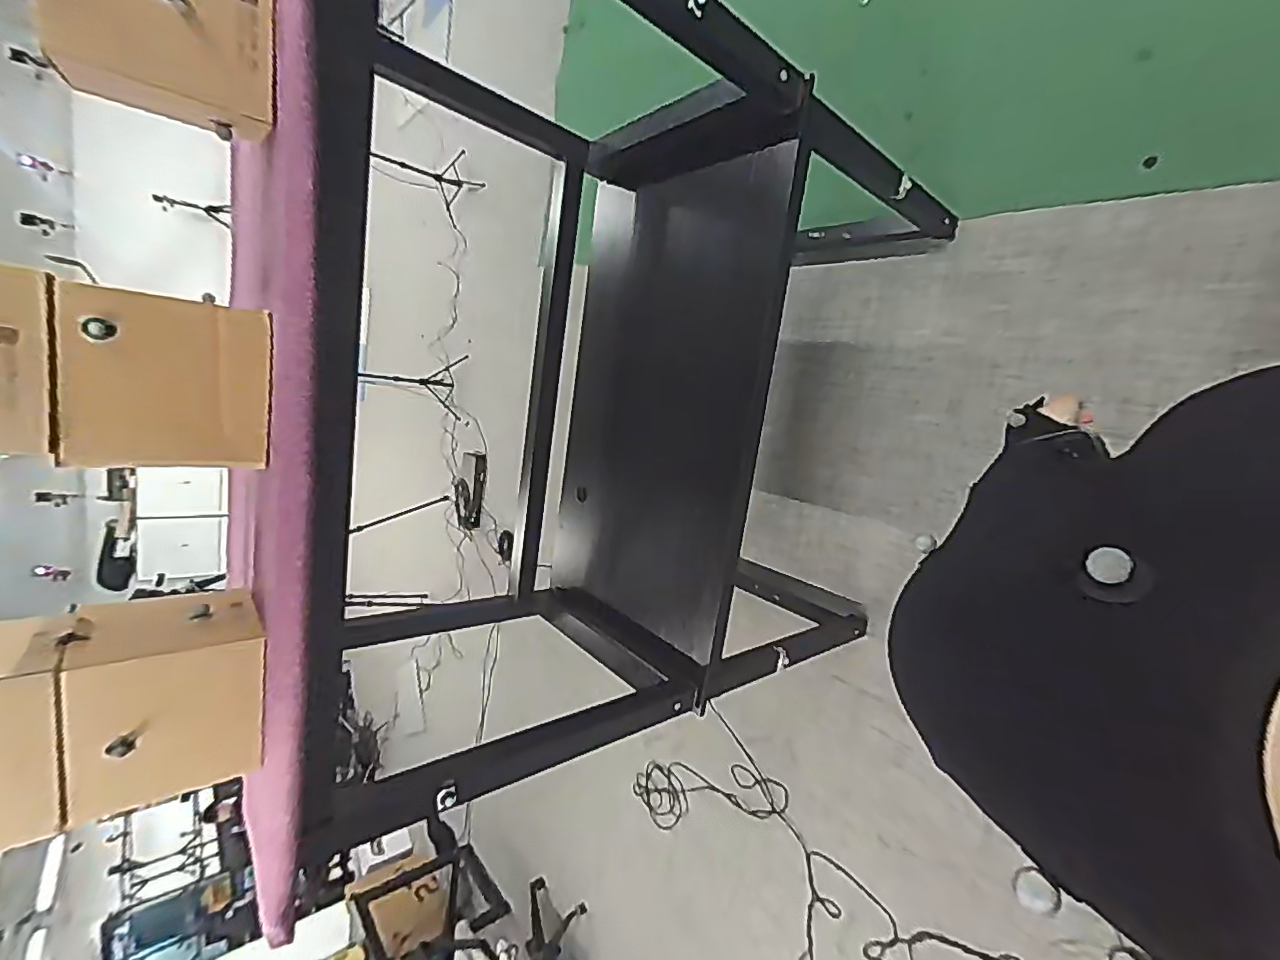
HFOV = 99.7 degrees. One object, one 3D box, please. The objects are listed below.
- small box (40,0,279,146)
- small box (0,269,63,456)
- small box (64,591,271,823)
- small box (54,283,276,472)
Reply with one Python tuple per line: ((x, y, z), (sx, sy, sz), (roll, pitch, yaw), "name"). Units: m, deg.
((-0.473, -0.463, 0.547), (0.179, 0.176, 0.168), (29, 113, 47), "small box")
((-0.639, -0.115, 0.501), (0.179, 0.176, 0.168), (15, 100, 51), "small box")
((-0.552, 0.250, 0.647), (0.168, 0.176, 0.179), (17, 103, 47), "small box")
((-0.515, -0.109, 0.606), (0.168, 0.176, 0.179), (18, 104, 49), "small box")
